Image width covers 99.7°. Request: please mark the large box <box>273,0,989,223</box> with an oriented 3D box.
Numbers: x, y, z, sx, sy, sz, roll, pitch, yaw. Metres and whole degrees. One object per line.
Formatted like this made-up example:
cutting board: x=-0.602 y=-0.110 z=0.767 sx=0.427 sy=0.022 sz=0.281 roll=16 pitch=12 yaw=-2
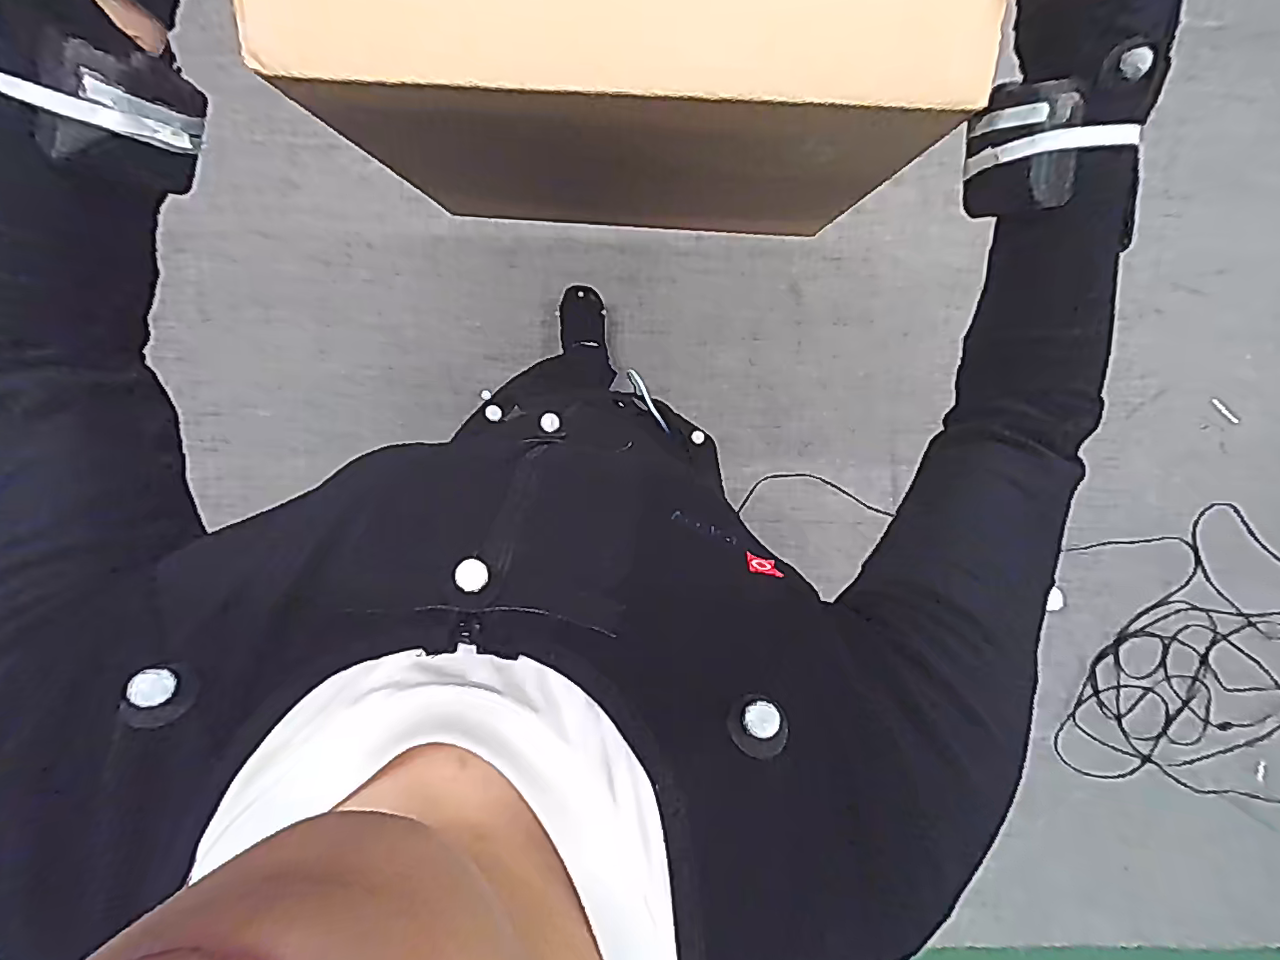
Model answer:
large box: x=-0.001 y=-0.405 z=0.420 sx=0.408 sy=0.320 sz=0.320 roll=3 pitch=103 yaw=0
